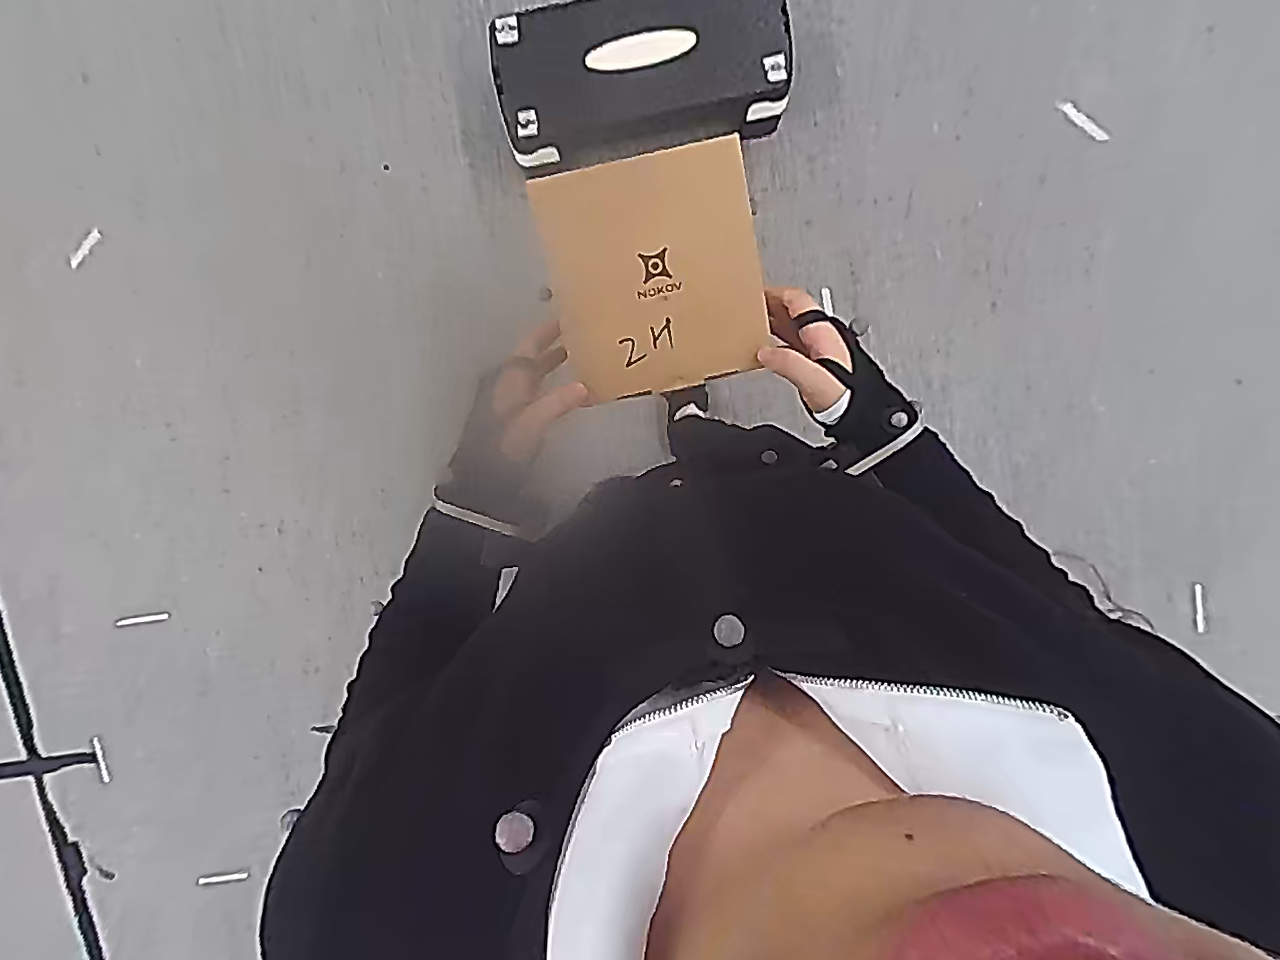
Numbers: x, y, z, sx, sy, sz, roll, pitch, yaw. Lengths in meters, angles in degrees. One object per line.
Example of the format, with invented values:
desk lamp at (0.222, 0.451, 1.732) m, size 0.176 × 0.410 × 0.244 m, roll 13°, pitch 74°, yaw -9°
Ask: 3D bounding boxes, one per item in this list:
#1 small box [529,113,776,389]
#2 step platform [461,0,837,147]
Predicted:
small box at (0.008, -0.187, 0.492) m, size 0.168 × 0.176 × 0.179 m, roll -13°, pitch 103°, yaw 0°
step platform at (0.014, -0.904, 1.071) m, size 0.684 × 0.204 × 0.286 m, roll -11°, pitch 95°, yaw 1°
